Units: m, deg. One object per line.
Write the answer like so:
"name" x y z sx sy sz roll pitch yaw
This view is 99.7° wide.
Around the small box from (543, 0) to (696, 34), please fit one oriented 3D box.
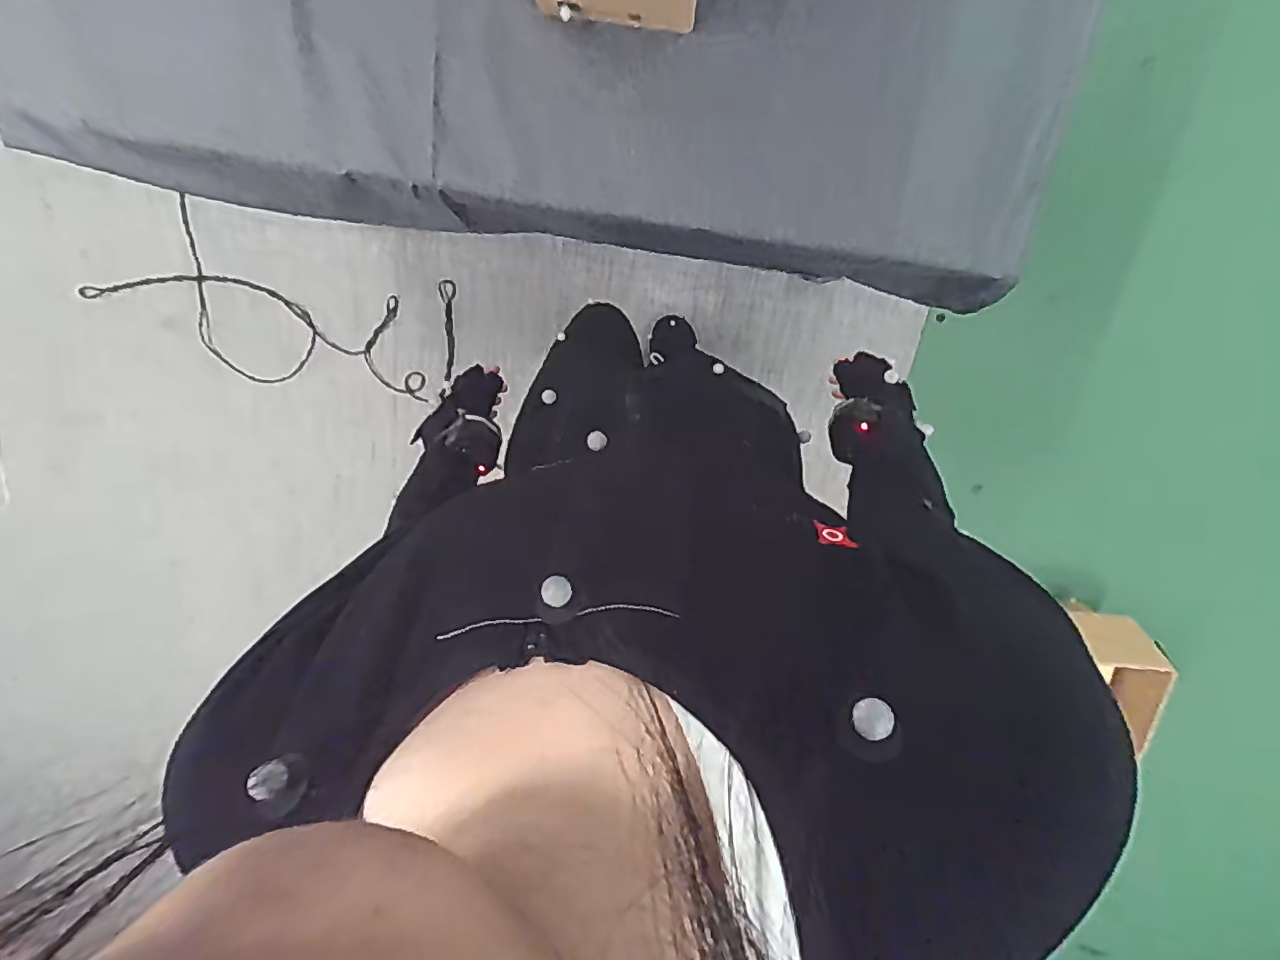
"small box" -0.020 -0.542 0.481 0.168 0.176 0.179 8 107 1
